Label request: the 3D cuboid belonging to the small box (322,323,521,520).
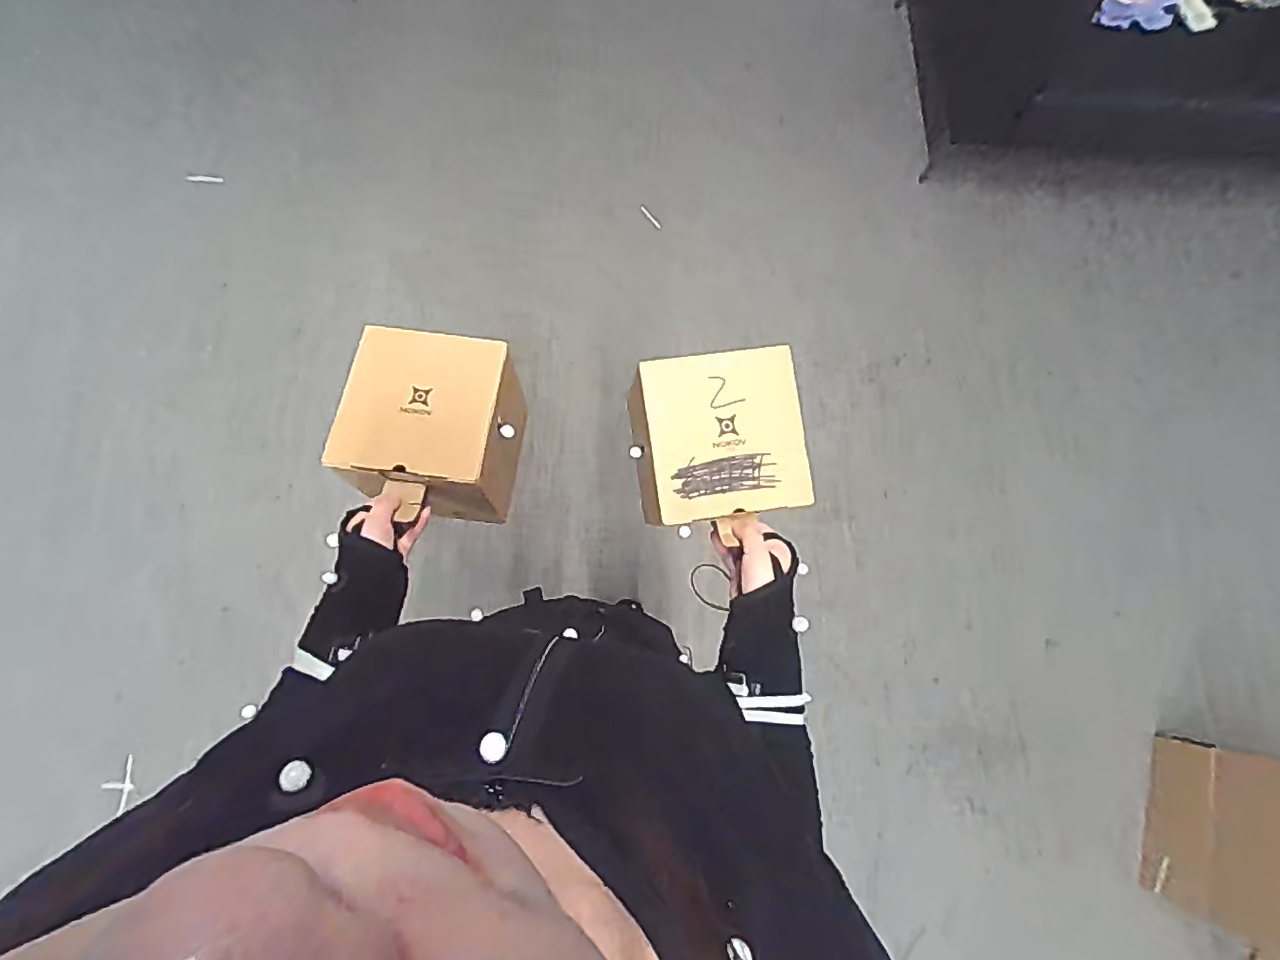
[{"bbox_3d":[-0.248,-0.063,0.666,0.168,0.176,0.179,7,71,-2],"label":"small box"}]
